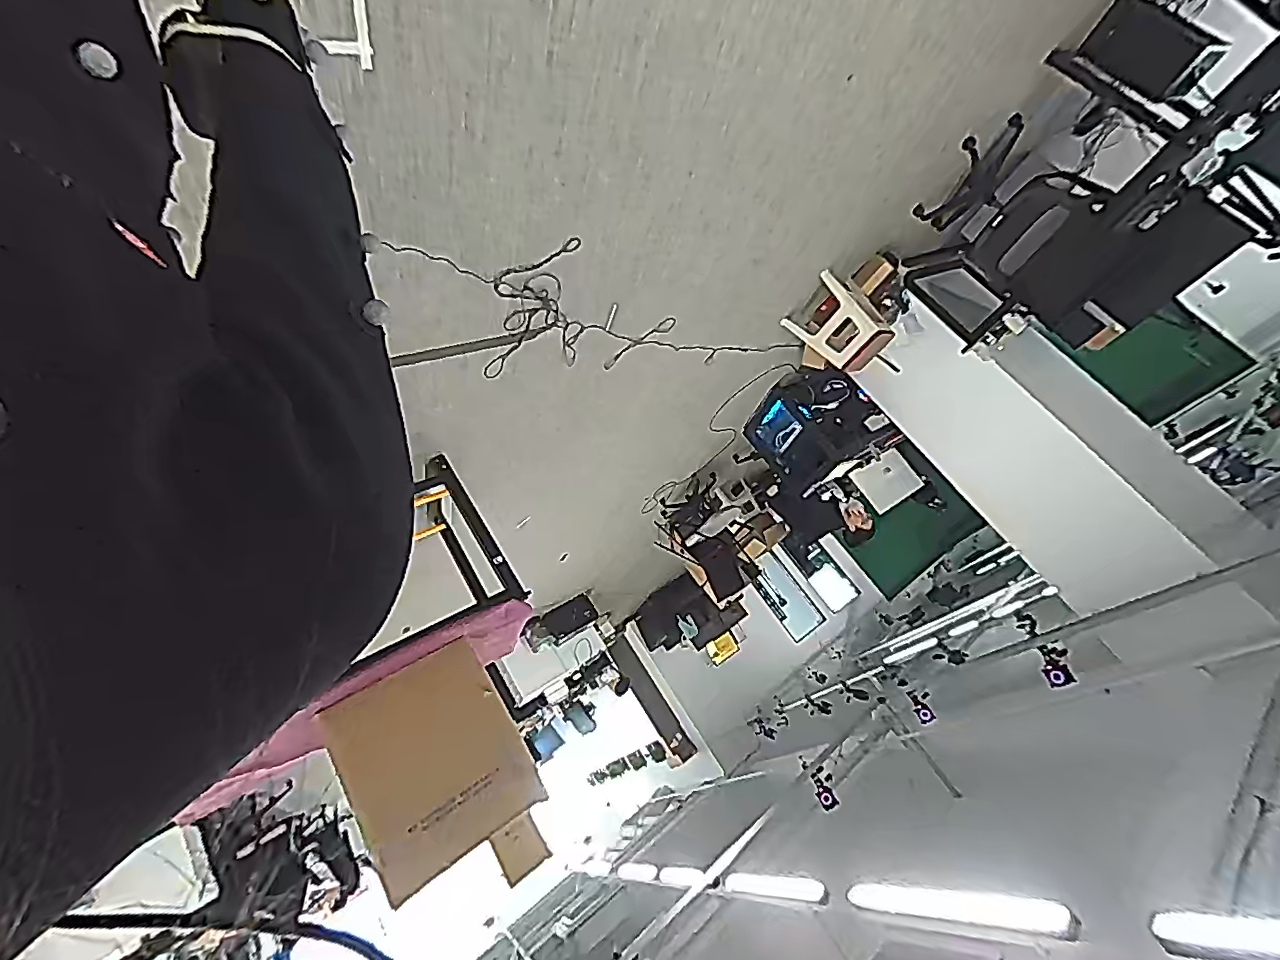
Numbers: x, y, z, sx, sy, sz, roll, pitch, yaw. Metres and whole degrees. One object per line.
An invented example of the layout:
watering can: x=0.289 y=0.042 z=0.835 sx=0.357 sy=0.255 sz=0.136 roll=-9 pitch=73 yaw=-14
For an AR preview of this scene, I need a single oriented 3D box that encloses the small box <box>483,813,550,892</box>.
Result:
small box: x=-0.439 y=1.306 z=1.905 sx=0.168 sy=0.176 sz=0.179 roll=-24 pitch=158 yaw=-31
